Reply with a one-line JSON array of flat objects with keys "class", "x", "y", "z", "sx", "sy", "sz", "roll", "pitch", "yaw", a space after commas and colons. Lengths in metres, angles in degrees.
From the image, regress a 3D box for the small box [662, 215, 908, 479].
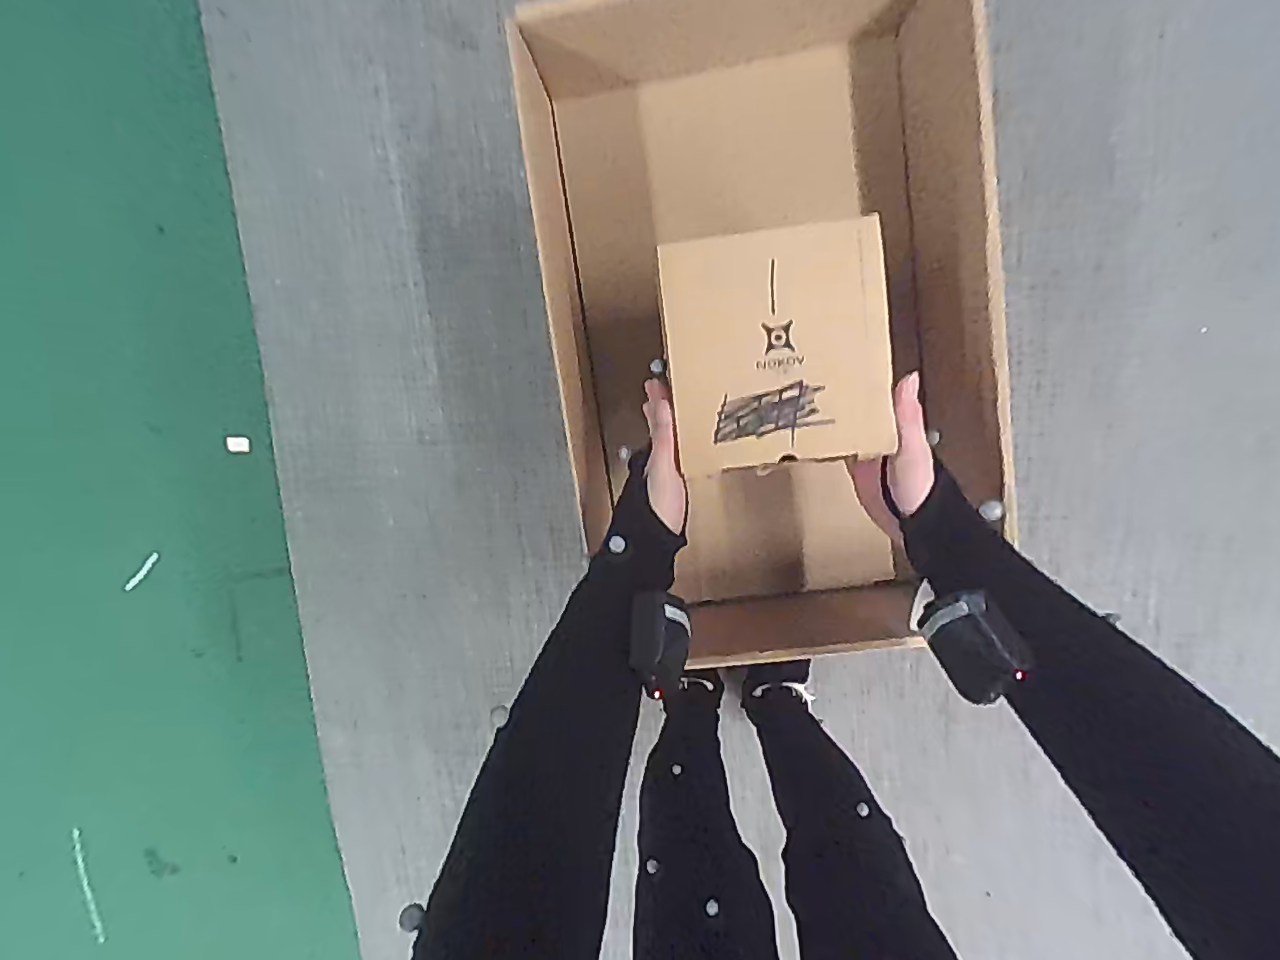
[{"class": "small box", "x": 0.110, "y": -0.101, "z": 0.472, "sx": 0.168, "sy": 0.176, "sz": 0.179, "roll": -7, "pitch": 93, "yaw": 2}]
